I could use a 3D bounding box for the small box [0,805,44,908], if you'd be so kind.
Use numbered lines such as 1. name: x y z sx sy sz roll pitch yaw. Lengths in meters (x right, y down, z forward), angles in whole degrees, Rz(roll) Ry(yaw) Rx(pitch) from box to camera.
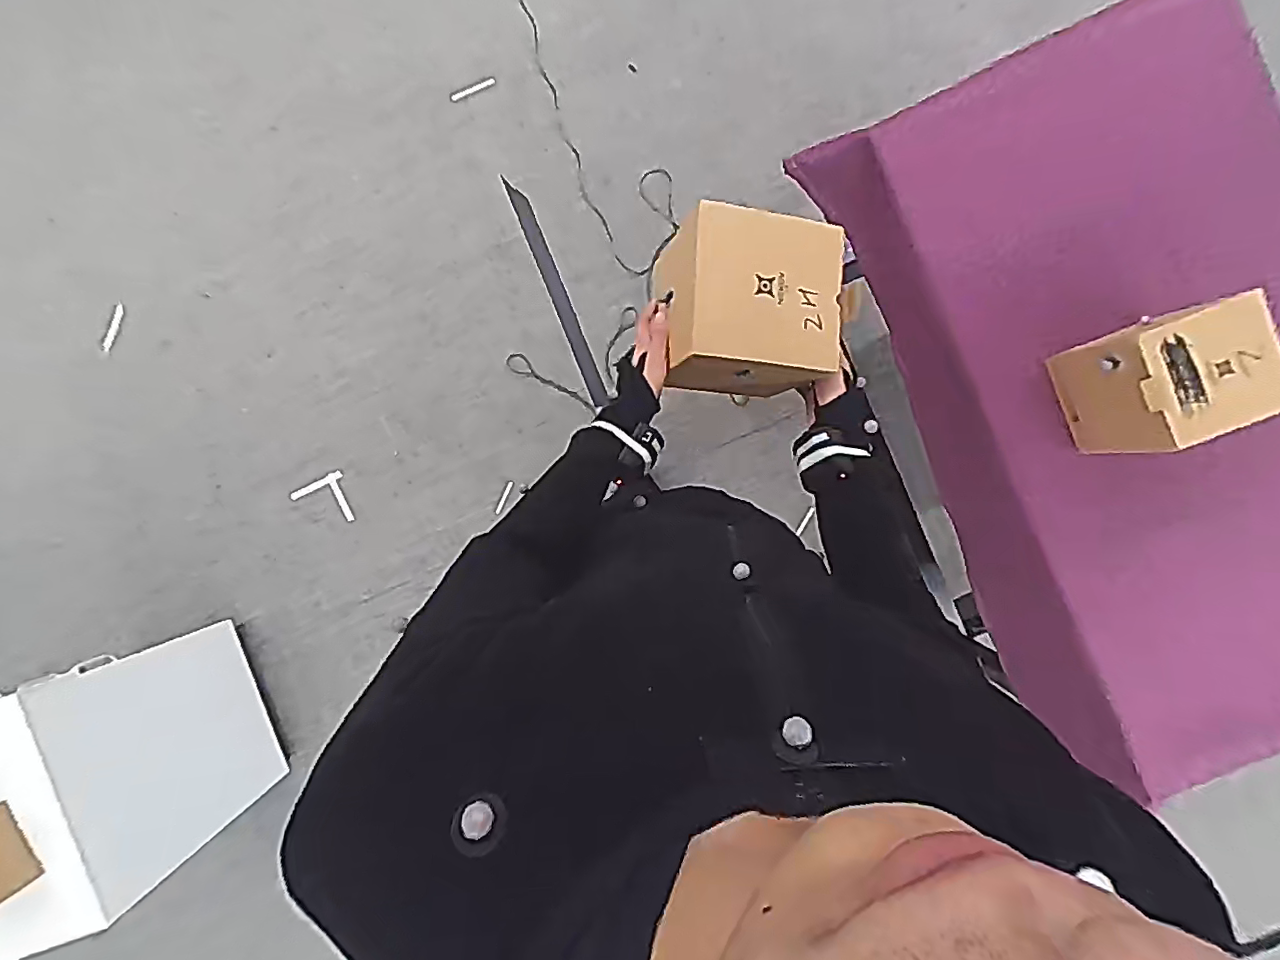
1. small box: -1.320 0.772 1.029 0.168 0.176 0.179 -28 90 2

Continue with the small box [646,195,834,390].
1. small box: 0.111 -0.210 0.657 0.179 0.176 0.168 3 88 -15
